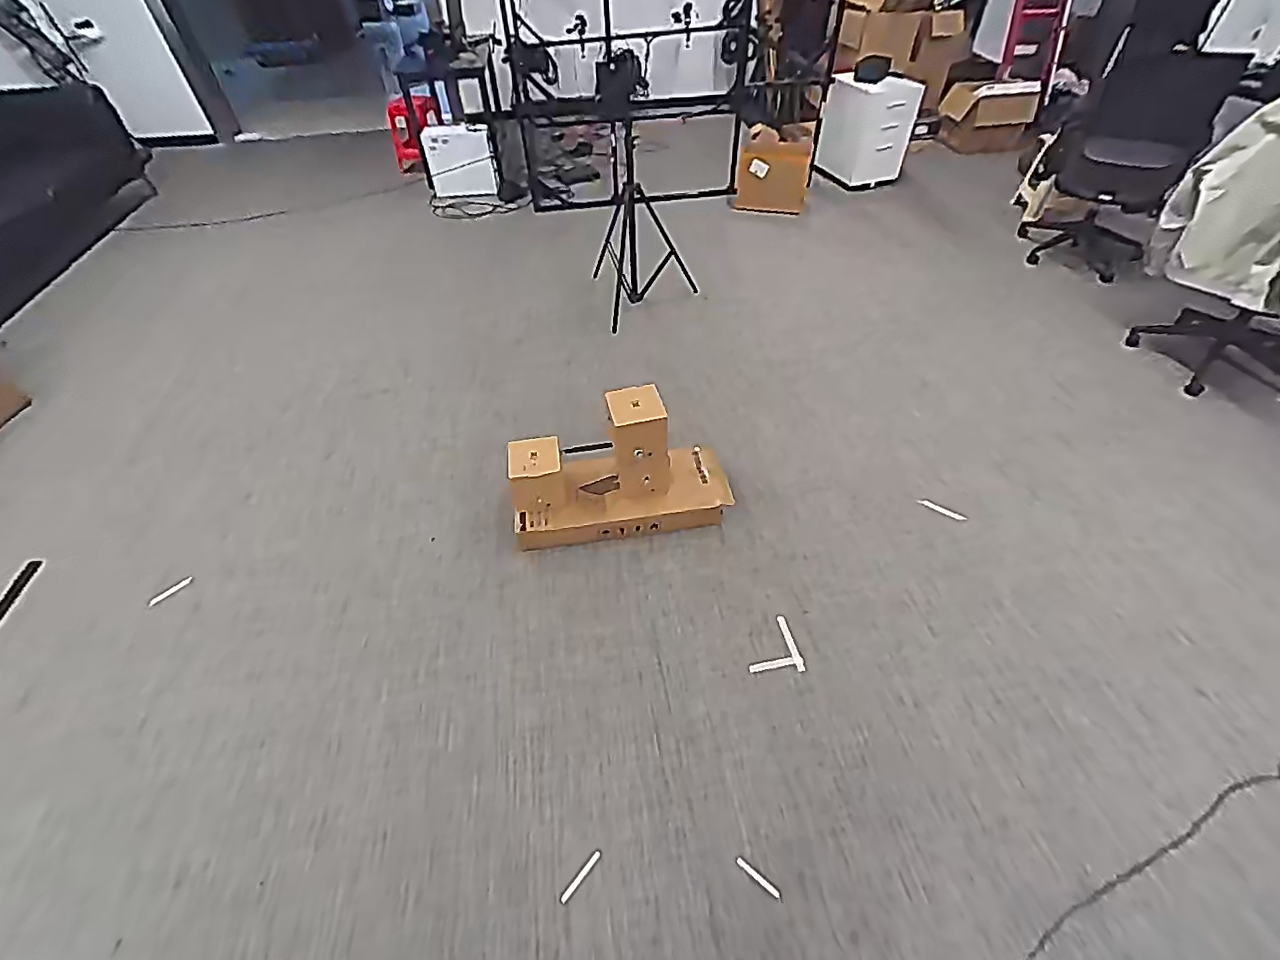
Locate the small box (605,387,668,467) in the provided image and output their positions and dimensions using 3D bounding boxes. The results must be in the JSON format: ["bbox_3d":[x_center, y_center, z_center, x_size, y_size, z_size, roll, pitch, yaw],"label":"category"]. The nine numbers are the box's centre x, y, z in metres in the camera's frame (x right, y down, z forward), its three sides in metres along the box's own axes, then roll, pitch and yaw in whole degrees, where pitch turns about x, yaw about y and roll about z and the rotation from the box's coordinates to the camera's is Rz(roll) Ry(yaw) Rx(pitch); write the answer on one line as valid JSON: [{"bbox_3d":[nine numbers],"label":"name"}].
[{"bbox_3d":[-0.013,-0.168,1.728,0.168,0.176,0.179,-12,48,-8],"label":"small box"}]

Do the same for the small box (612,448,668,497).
[{"bbox_3d":[0.000,-0.056,1.848,0.168,0.176,0.179,-9,48,-7],"label":"small box"}]
